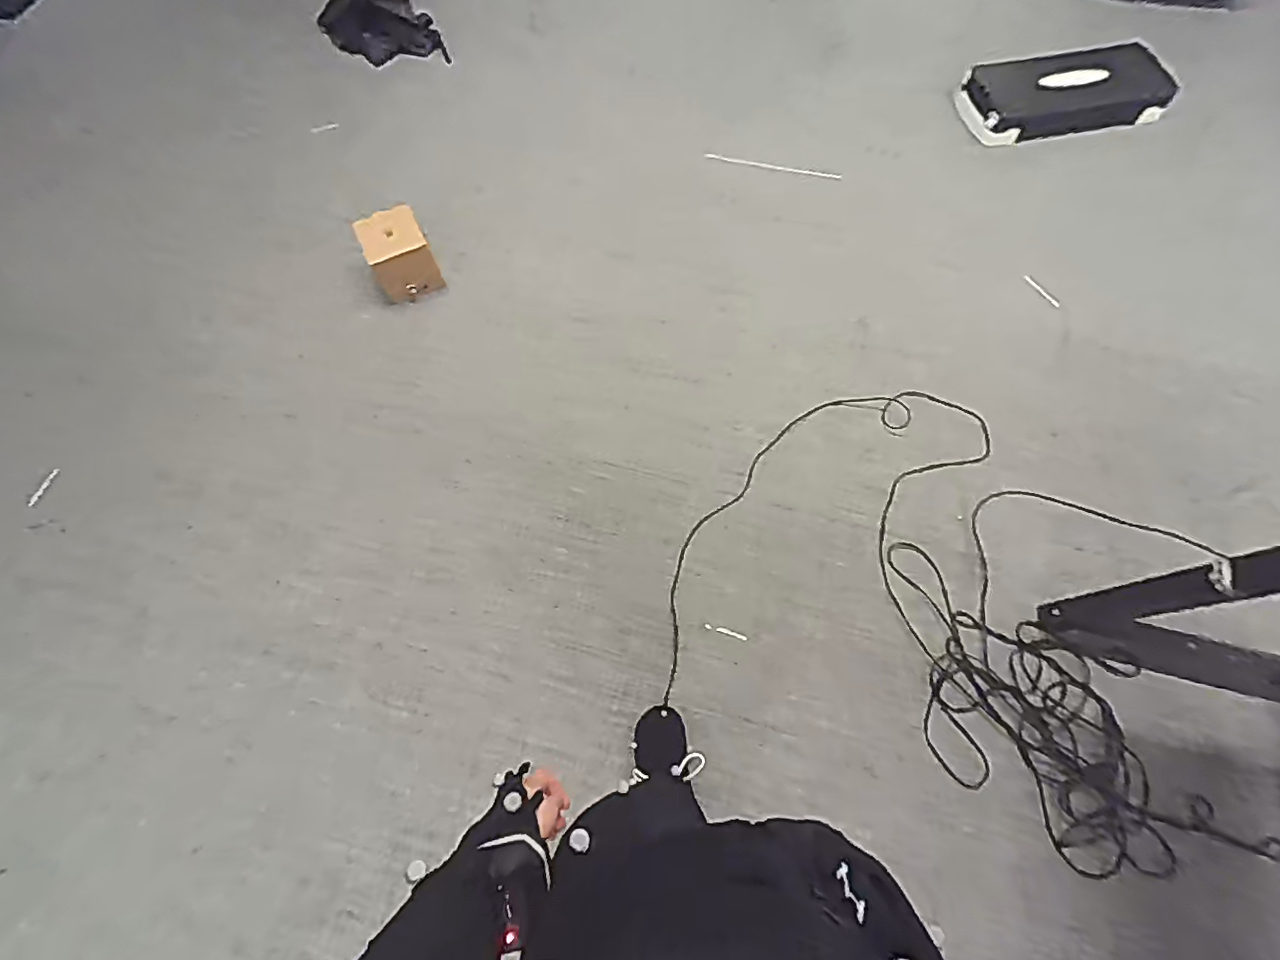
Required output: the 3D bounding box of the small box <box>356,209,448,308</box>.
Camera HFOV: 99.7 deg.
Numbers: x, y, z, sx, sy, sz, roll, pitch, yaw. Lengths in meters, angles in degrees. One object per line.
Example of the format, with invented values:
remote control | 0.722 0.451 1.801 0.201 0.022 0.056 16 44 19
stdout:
small box | -0.684 -0.638 1.569 0.168 0.176 0.179 -26 70 -9
